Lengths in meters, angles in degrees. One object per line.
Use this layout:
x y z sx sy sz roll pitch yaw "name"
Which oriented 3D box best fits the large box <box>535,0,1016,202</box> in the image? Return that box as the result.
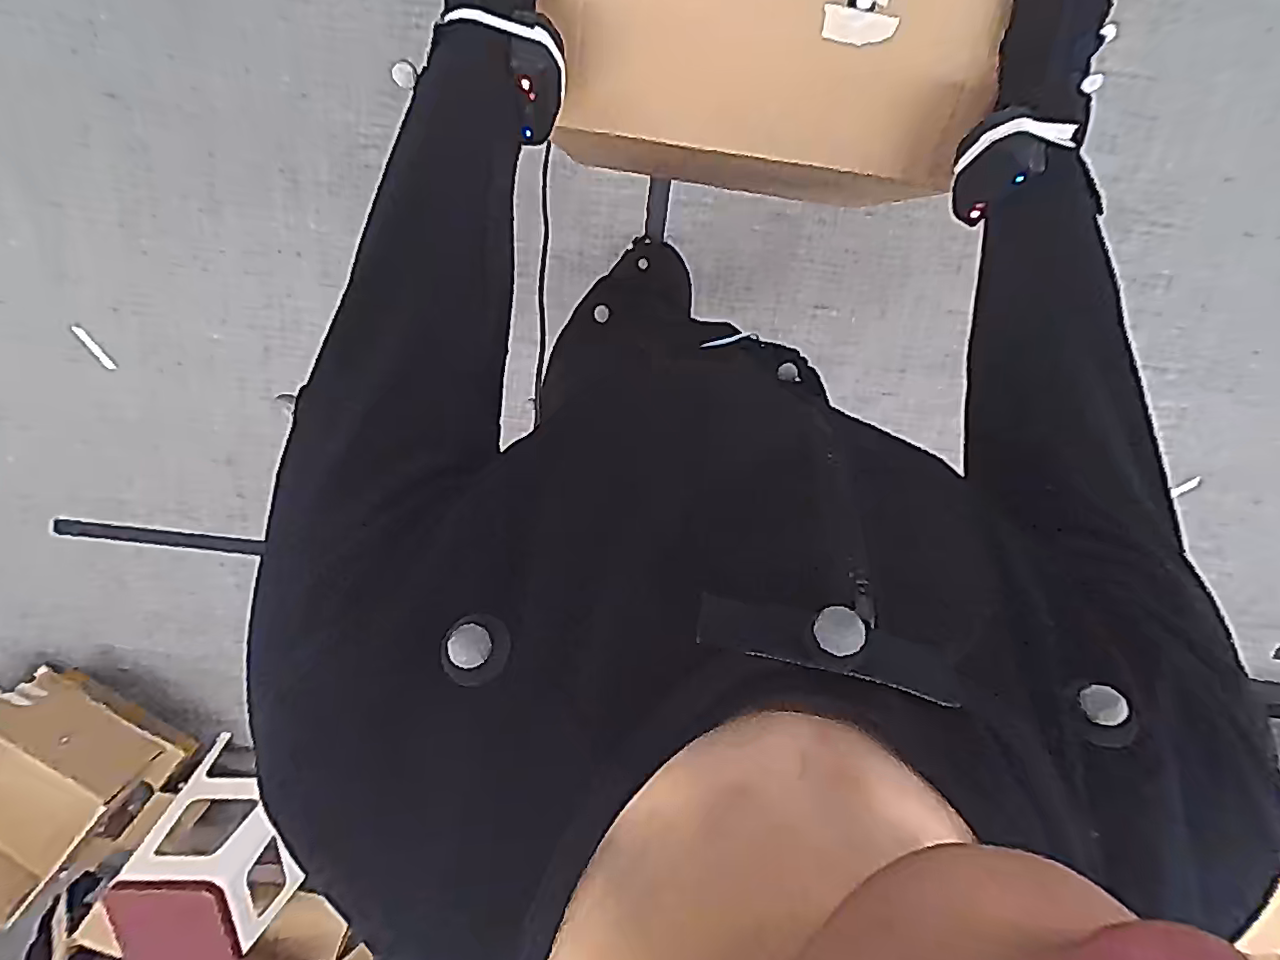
0.119 -0.497 0.569 0.408 0.320 0.320 7 115 -2 "large box"
